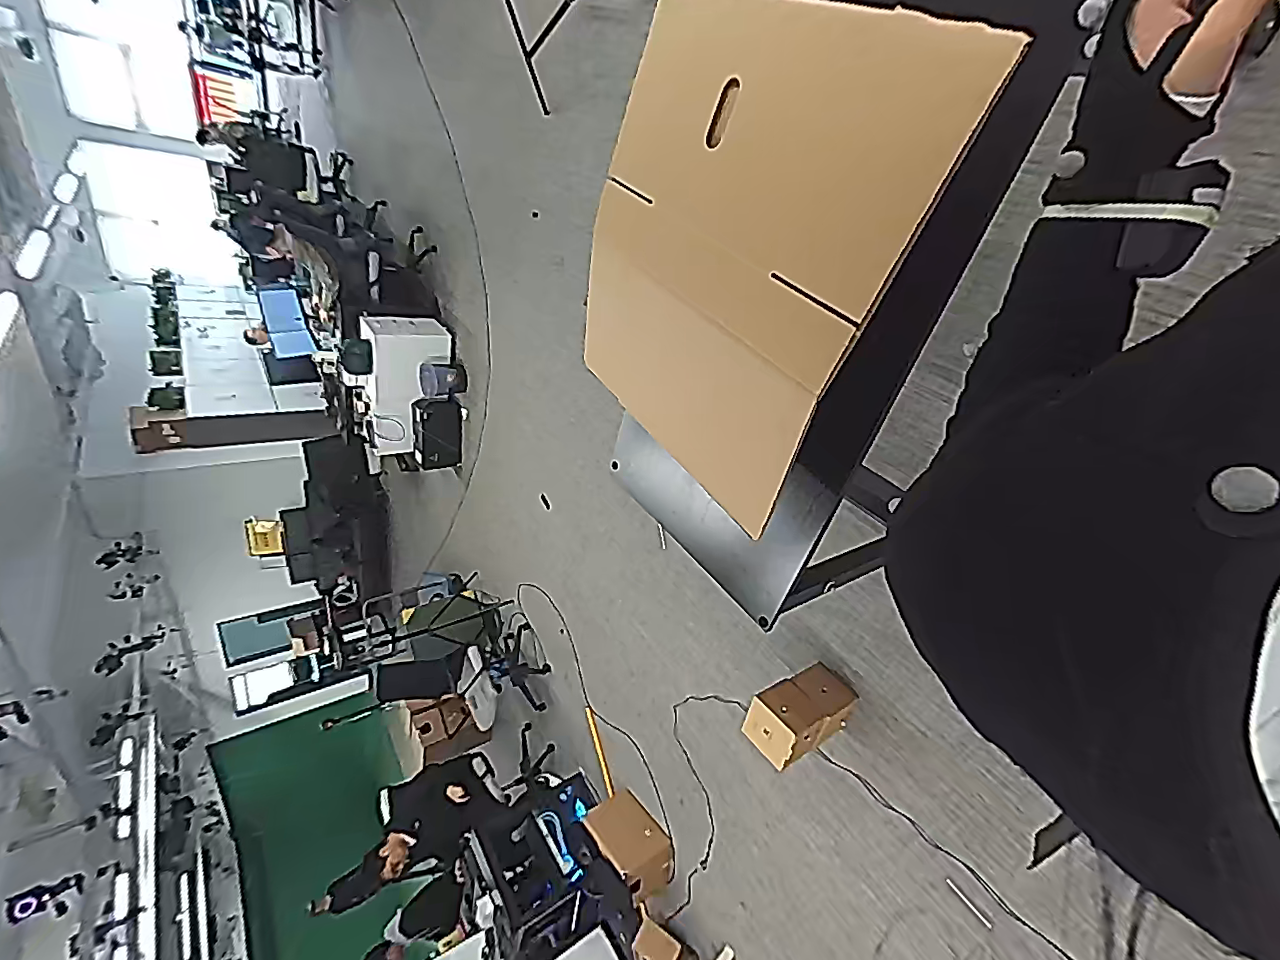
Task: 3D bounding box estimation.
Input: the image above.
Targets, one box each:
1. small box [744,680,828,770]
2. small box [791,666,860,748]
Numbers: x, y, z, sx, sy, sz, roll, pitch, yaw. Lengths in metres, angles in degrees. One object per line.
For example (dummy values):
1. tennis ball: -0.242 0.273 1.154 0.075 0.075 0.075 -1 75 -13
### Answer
1. small box: 0.471 0.777 1.738 0.179 0.176 0.168 38 126 43
2. small box: 0.604 0.757 1.830 0.179 0.176 0.168 40 128 40
